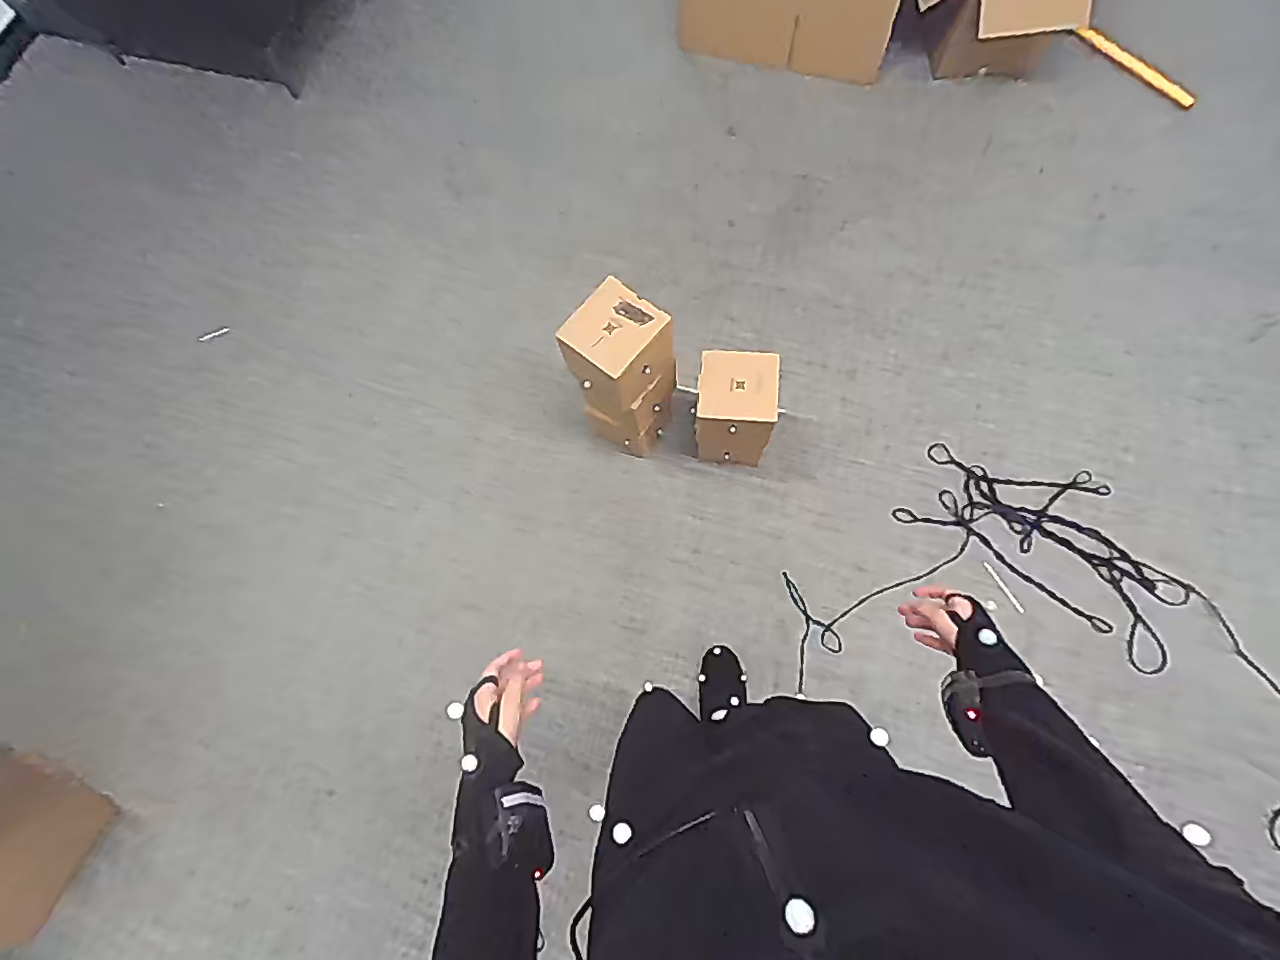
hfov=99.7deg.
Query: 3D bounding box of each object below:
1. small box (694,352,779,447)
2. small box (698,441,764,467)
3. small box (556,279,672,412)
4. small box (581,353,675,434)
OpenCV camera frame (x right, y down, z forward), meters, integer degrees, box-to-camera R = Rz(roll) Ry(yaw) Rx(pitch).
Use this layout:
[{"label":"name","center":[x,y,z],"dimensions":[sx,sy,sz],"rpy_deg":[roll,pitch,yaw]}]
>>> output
[{"label":"small box","center":[0.222,-0.183,1.264],"dimensions":[0.179,0.176,0.168],"rpy_deg":[5,74,7]},{"label":"small box","center":[0.247,-0.146,1.422],"dimensions":[0.168,0.176,0.179],"rpy_deg":[9,74,8]},{"label":"small box","center":[-0.049,-0.279,1.149],"dimensions":[0.168,0.176,0.179],"rpy_deg":[38,80,14]},{"label":"small box","center":[-0.031,-0.238,1.307],"dimensions":[0.179,0.176,0.168],"rpy_deg":[33,78,13]}]
